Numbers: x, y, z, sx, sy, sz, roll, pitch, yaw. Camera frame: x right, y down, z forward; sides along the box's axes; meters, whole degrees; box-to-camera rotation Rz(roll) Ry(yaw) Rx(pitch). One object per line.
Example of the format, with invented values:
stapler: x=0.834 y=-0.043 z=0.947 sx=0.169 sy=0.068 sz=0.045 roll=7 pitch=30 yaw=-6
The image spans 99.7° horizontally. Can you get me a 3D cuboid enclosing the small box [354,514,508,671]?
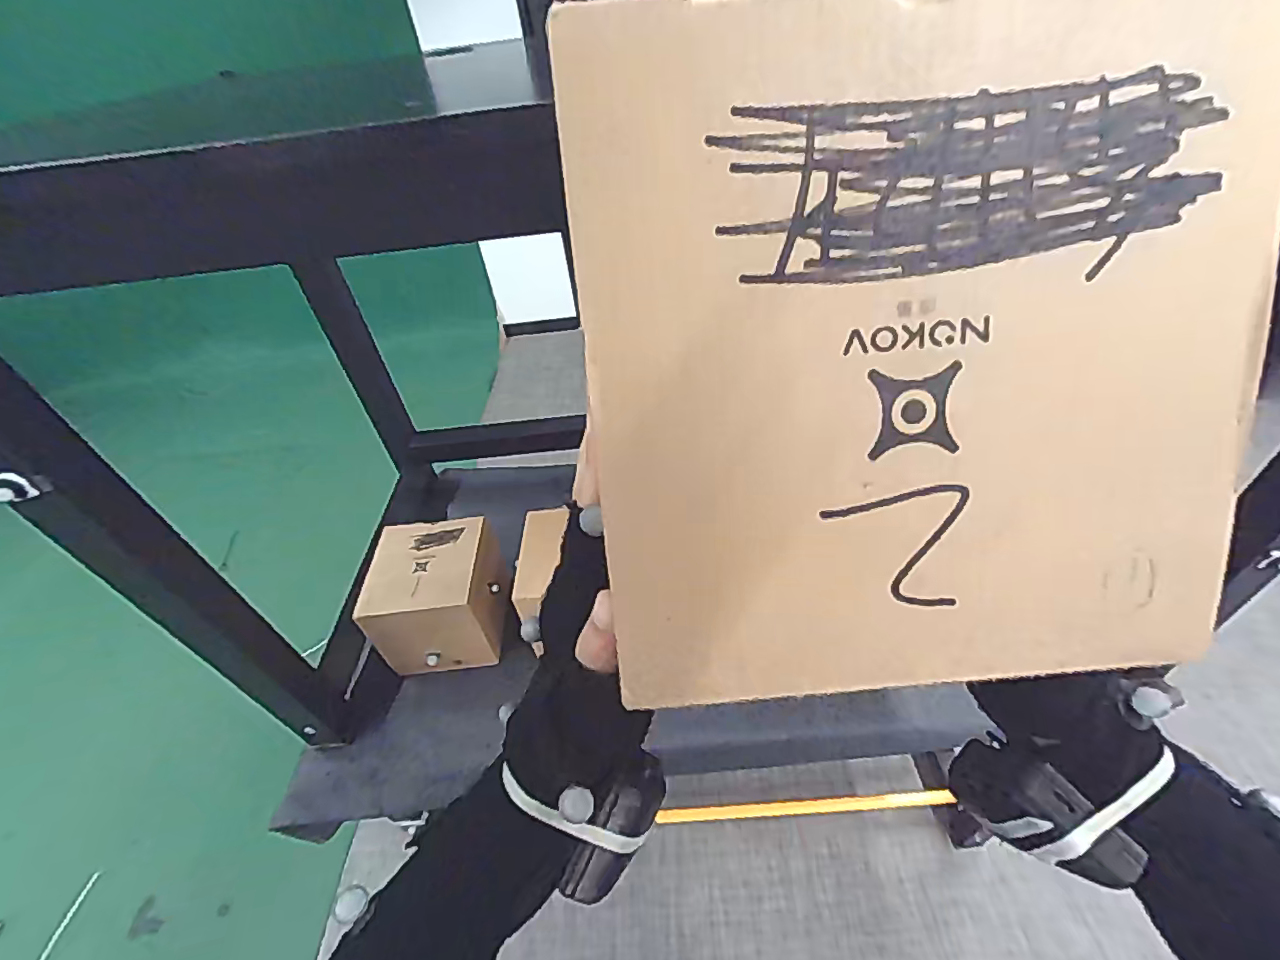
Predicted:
small box: x=-0.319 y=0.179 z=0.868 sx=0.168 sy=0.176 sz=0.179 roll=-7 pitch=42 yaw=1

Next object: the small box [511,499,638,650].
small box: x=-0.093 y=0.156 z=0.864 sx=0.168 sy=0.176 sz=0.179 roll=-5 pitch=41 yaw=2
